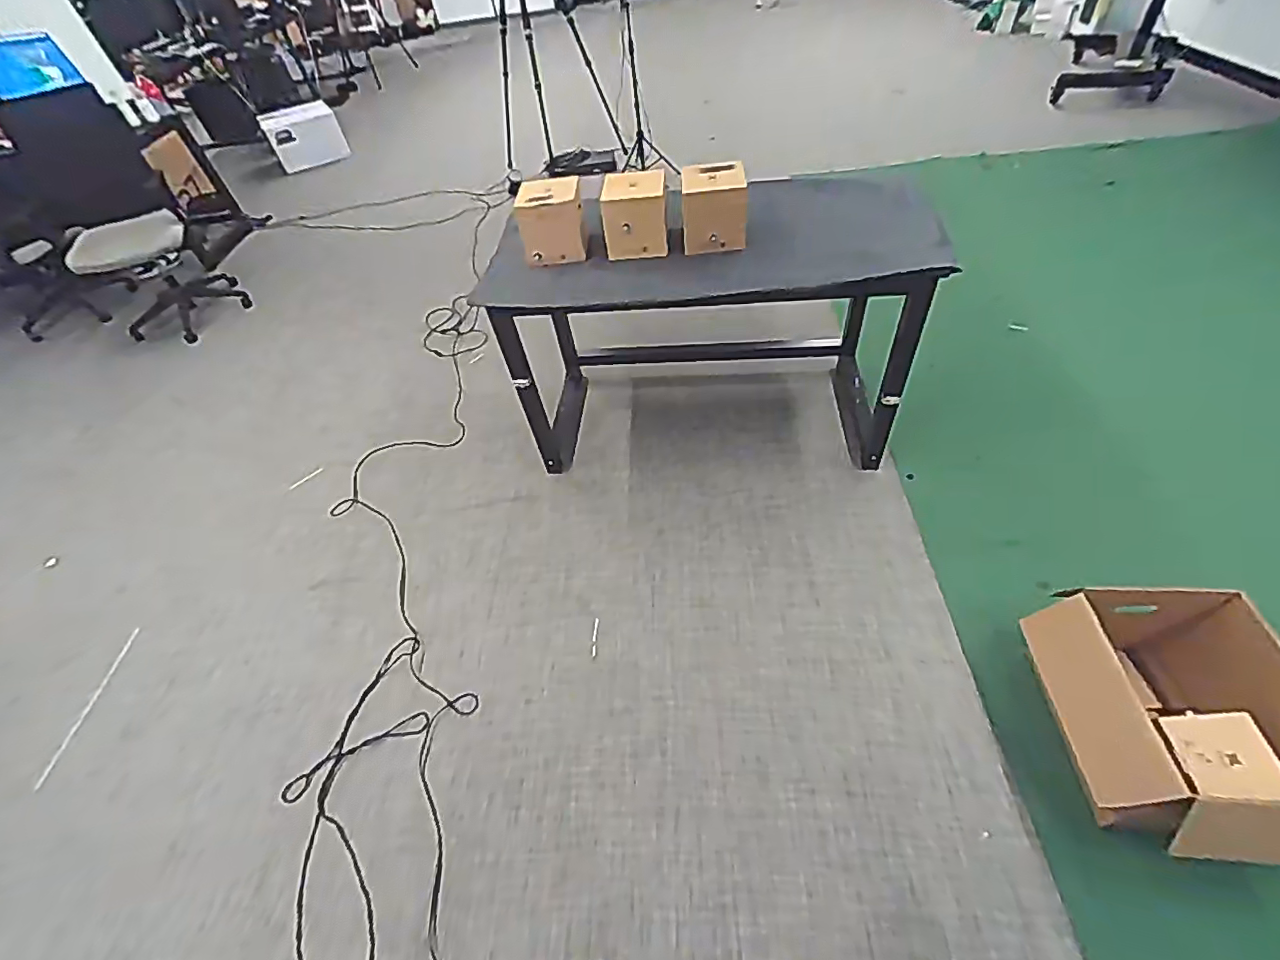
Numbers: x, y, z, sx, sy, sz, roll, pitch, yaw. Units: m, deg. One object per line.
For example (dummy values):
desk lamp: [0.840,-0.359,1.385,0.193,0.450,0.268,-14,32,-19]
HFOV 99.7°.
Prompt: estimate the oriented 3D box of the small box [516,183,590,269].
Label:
small box: [-0.240,-0.719,1.545,0.168,0.176,0.179,-4,48,5]

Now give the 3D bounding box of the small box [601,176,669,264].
small box: [-0.006,-0.721,1.513,0.168,0.176,0.179,-2,48,7]
